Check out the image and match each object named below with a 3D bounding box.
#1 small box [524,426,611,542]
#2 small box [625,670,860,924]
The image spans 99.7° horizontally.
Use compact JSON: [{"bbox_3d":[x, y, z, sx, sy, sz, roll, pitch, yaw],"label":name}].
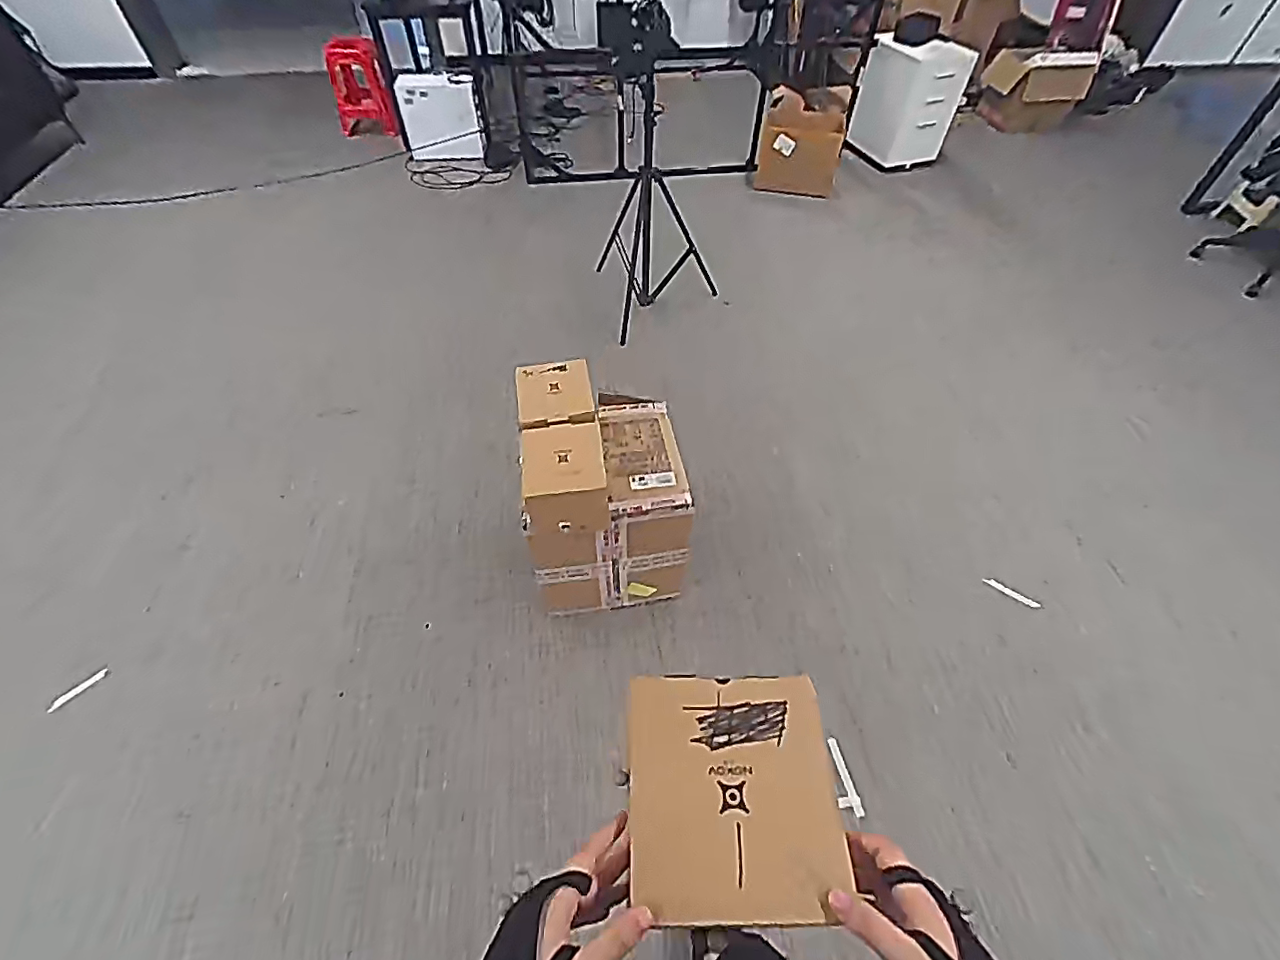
[{"bbox_3d":[-0.153,0.011,1.155,0.168,0.176,0.179,-7,55,-4],"label":"small box"},{"bbox_3d":[0.072,0.291,0.495,0.168,0.176,0.179,1,51,-2],"label":"small box"}]
